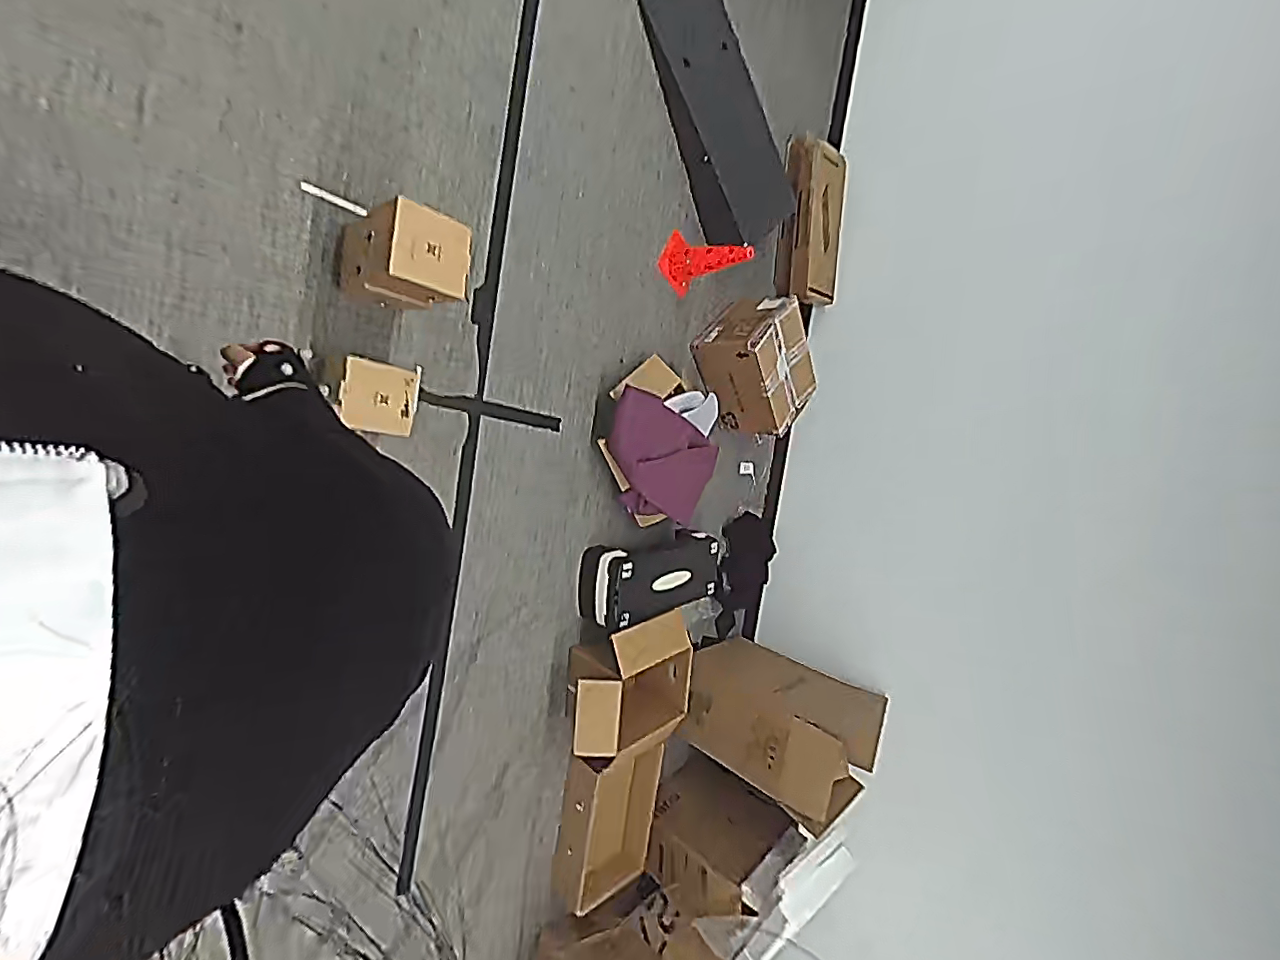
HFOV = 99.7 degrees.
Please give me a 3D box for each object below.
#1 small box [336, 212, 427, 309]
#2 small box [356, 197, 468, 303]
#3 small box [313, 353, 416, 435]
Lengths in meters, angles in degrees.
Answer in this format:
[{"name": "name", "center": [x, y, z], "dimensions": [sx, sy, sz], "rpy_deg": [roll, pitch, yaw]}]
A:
[{"name": "small box", "center": [-0.640, -0.536, 1.352], "dimensions": [0.168, 0.176, 0.179], "rpy_deg": [4, 95, -49]}, {"name": "small box", "center": [-0.523, -0.515, 1.241], "dimensions": [0.179, 0.176, 0.168], "rpy_deg": [5, 93, -47]}, {"name": "small box", "center": [-0.698, -0.214, 1.364], "dimensions": [0.179, 0.176, 0.168], "rpy_deg": [9, 92, -48]}]
